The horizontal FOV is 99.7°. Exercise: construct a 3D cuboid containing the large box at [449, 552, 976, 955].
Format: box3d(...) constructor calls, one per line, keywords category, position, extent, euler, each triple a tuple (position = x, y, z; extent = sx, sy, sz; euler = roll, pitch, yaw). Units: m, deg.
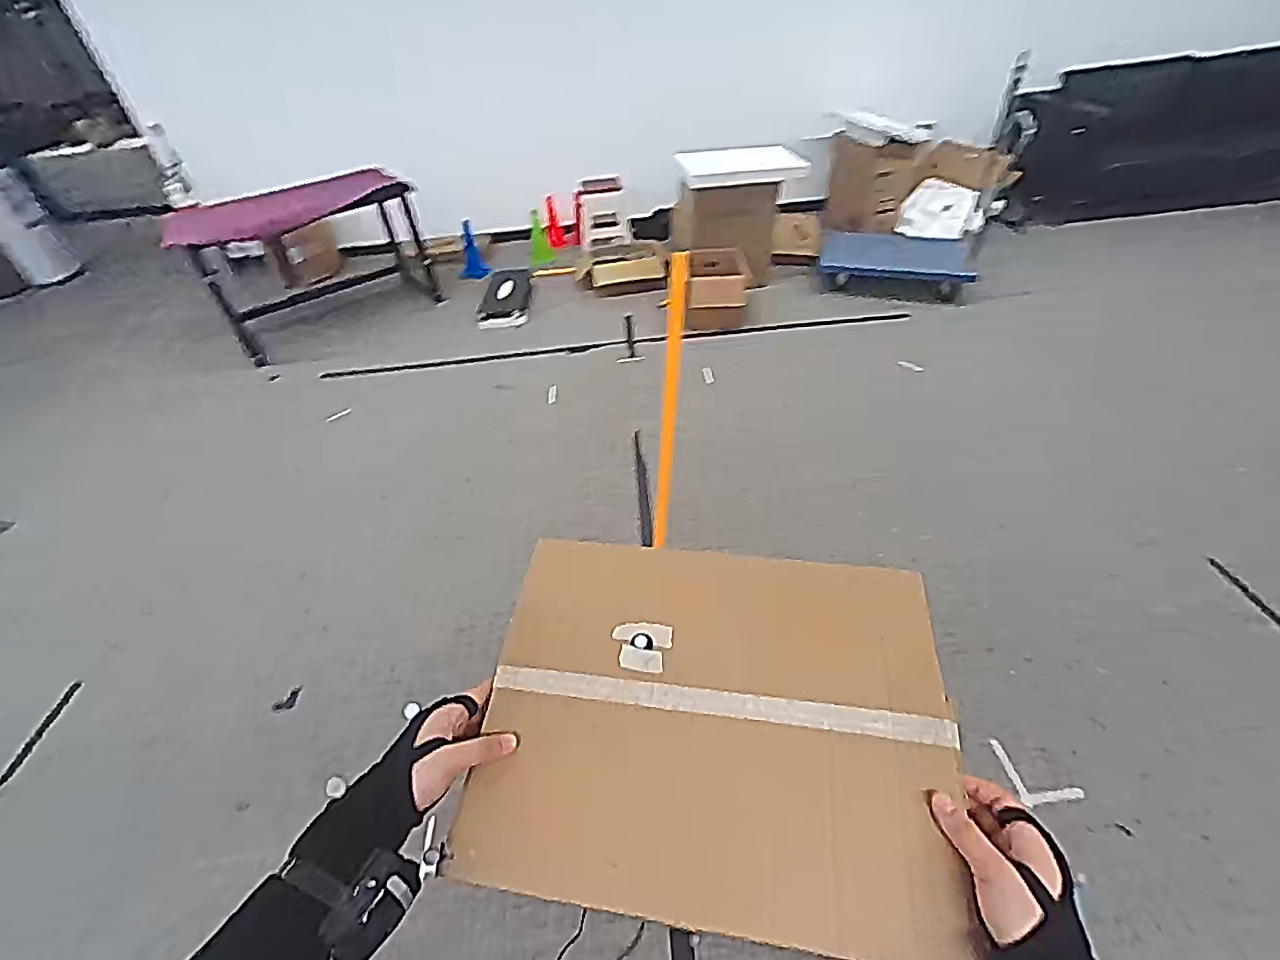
box3d(category="large box", position=(0.075, 0.296, 0.611), extent=(0.408, 0.320, 0.320), euler=(2, 51, 10))
